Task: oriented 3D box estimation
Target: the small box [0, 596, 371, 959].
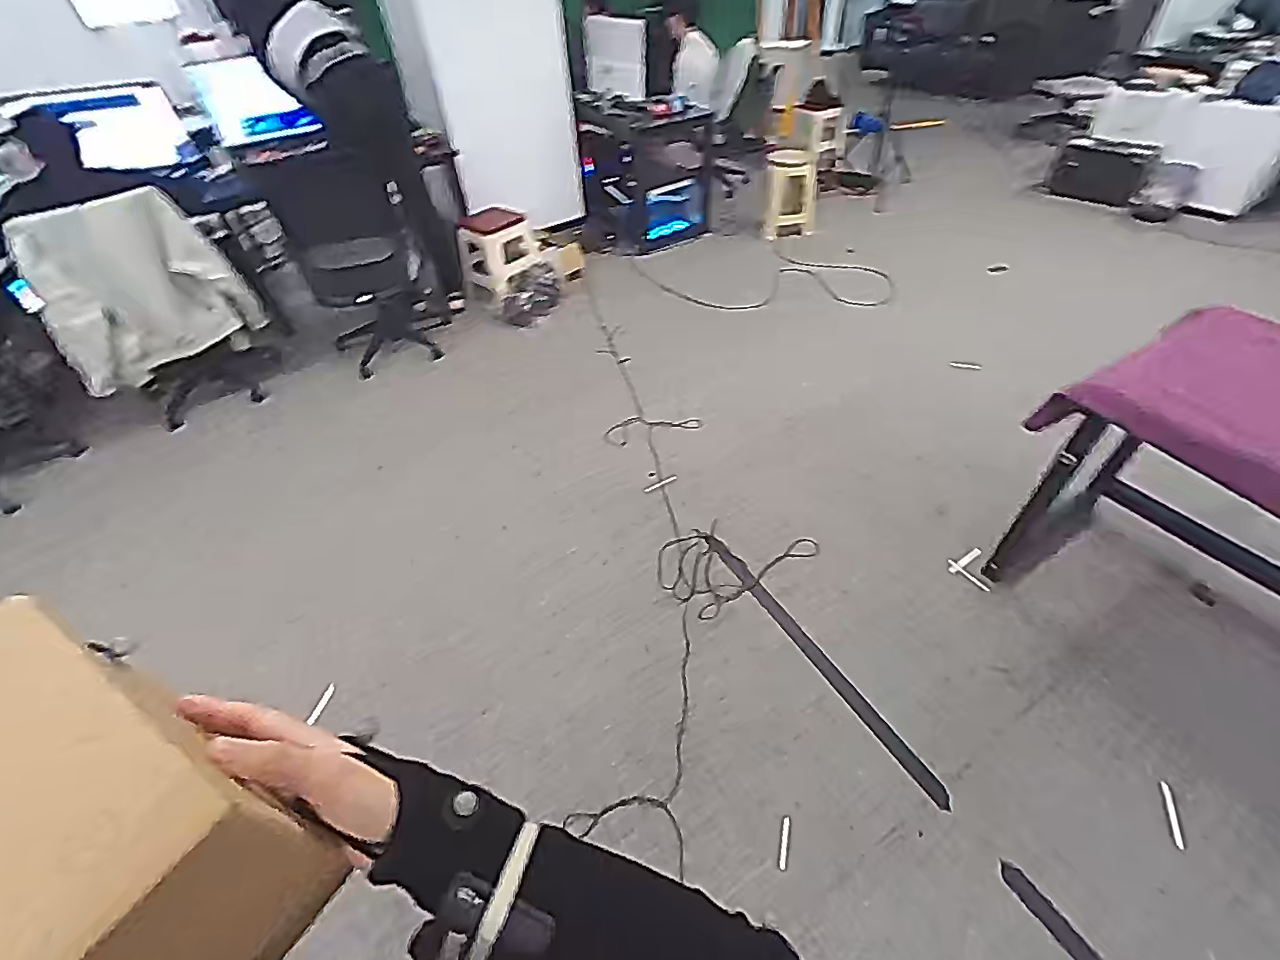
[{"bbox_3d":[-0.270,0.197,0.263,0.179,0.176,0.168,28,51,19],"label":"small box"}]
